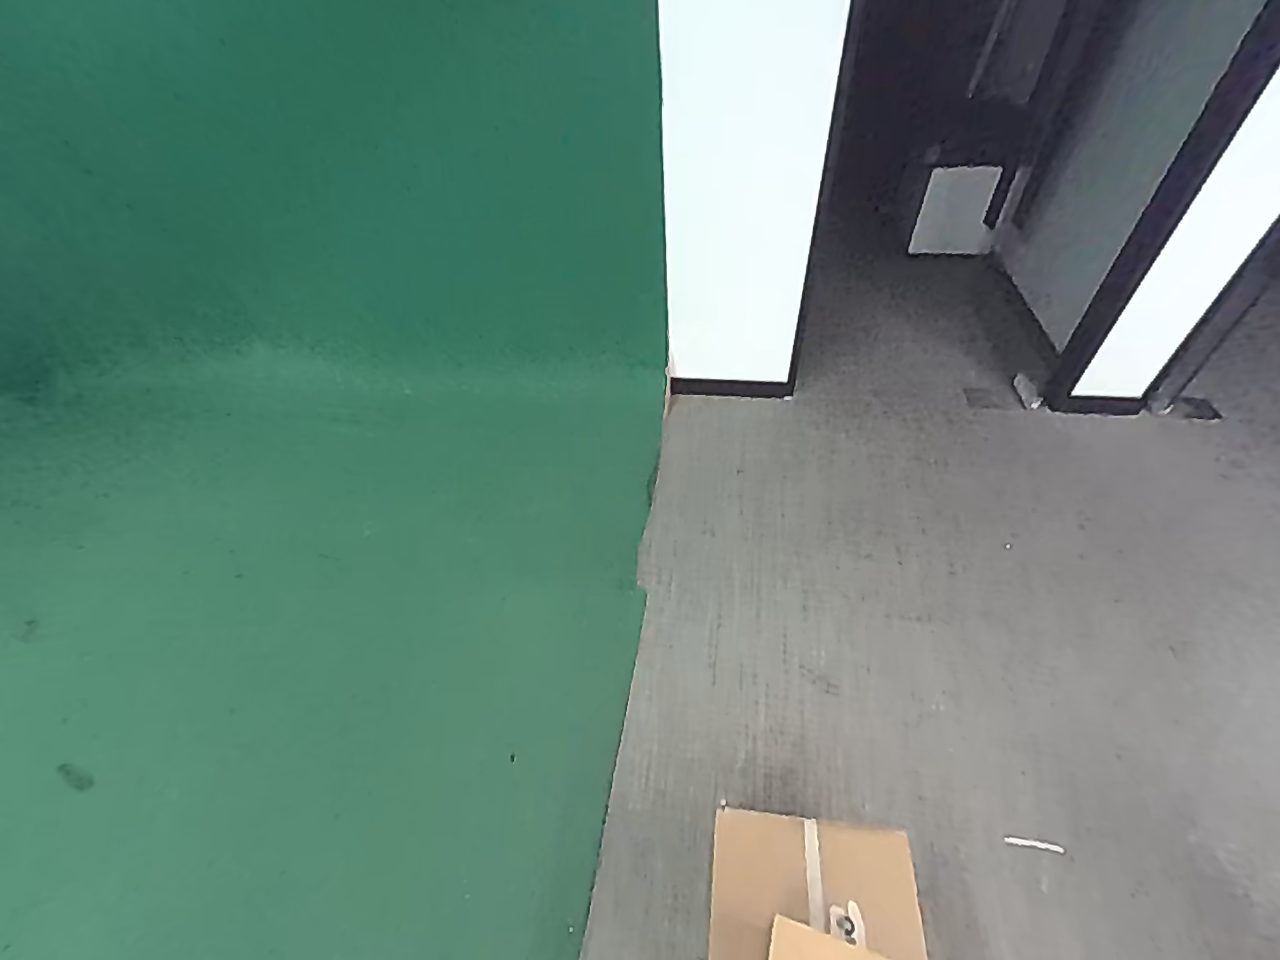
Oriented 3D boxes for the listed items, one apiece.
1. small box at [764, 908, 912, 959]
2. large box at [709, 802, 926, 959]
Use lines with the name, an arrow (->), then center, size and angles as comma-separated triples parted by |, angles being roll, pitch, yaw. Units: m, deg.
small box -> 0.236, 0.679, 0.674 | 0.168, 0.176, 0.179 | 10, 49, 17
large box -> 0.270, 0.810, 0.884 | 0.320, 0.320, 0.408 | 3, 46, 9
